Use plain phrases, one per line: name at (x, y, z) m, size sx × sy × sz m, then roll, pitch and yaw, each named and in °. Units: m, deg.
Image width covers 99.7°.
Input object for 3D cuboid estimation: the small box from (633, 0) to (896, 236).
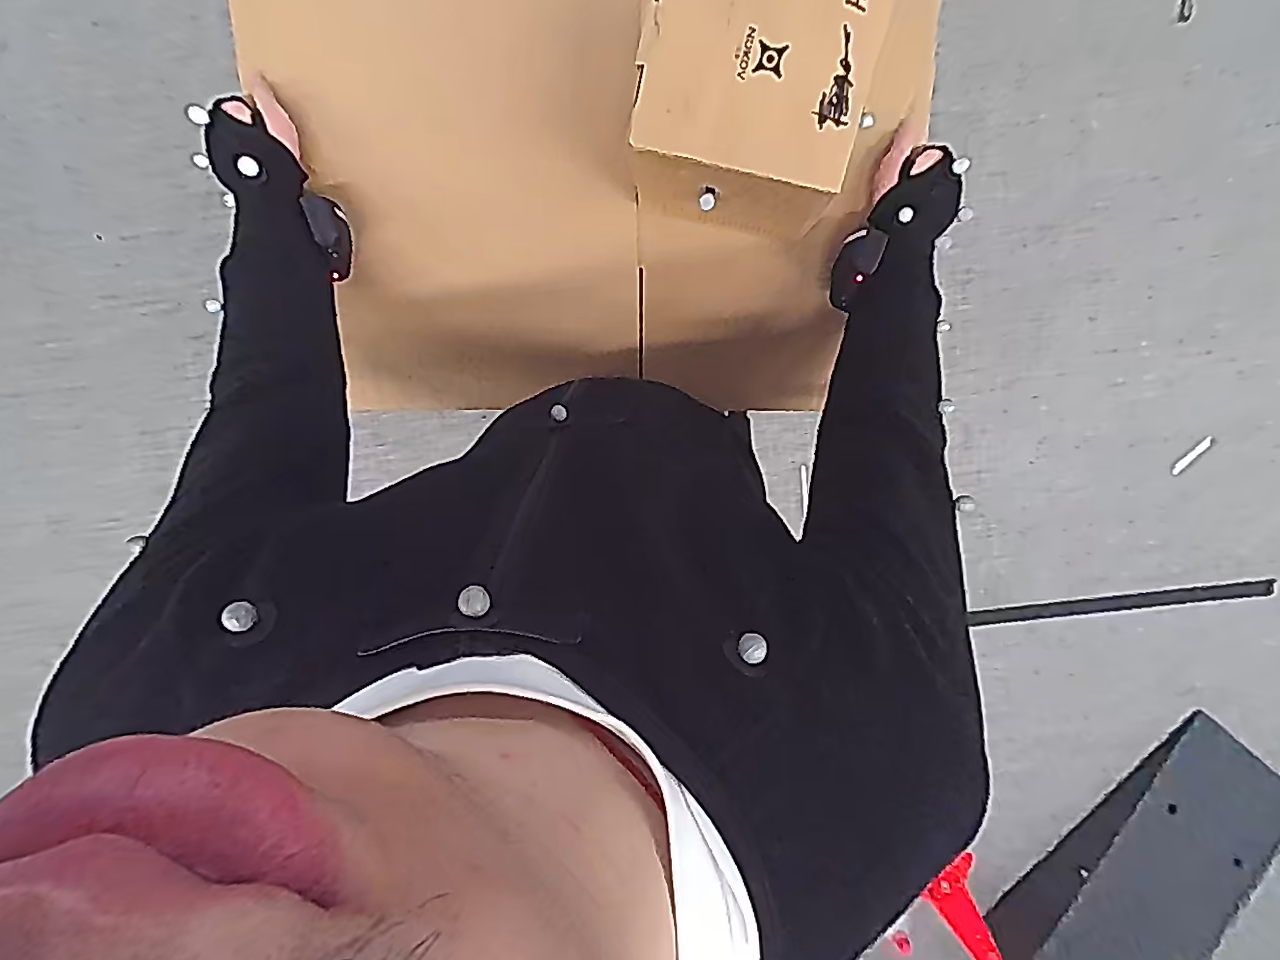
small box at (0.104, -0.343, 0.498) m, size 0.179 × 0.176 × 0.168 m, roll 14°, pitch 102°, yaw 3°
